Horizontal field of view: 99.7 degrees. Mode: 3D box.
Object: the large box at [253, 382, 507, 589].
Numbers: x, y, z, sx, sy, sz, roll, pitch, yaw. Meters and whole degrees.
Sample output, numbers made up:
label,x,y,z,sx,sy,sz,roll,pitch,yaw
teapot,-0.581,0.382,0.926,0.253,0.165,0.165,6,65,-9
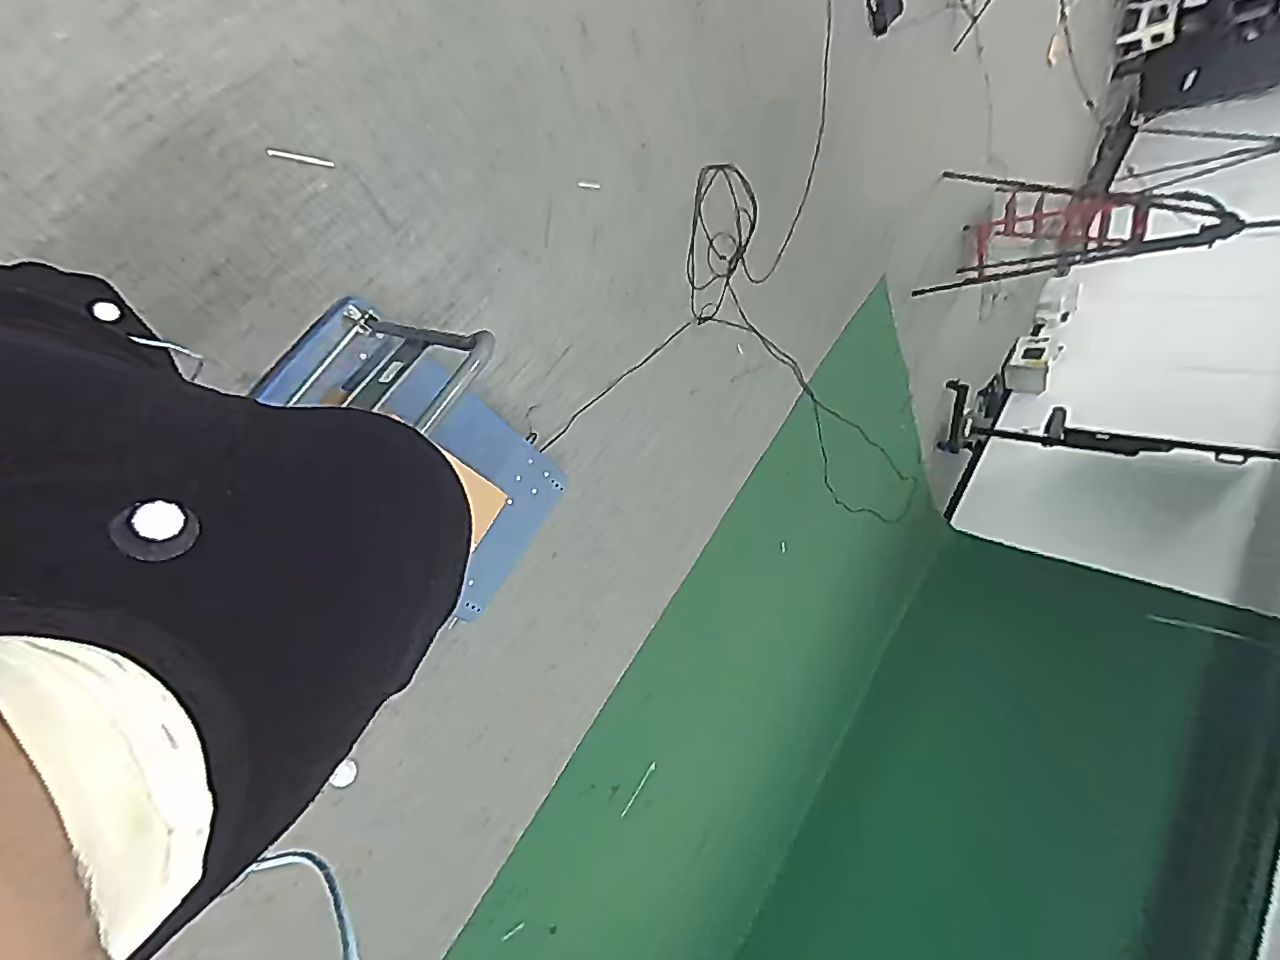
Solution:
label,x,y,z,sx,sy,sz,roll,pitch,yaw
large box,-0.621,0.012,1.319,0.408,0.320,0.320,44,72,-44
